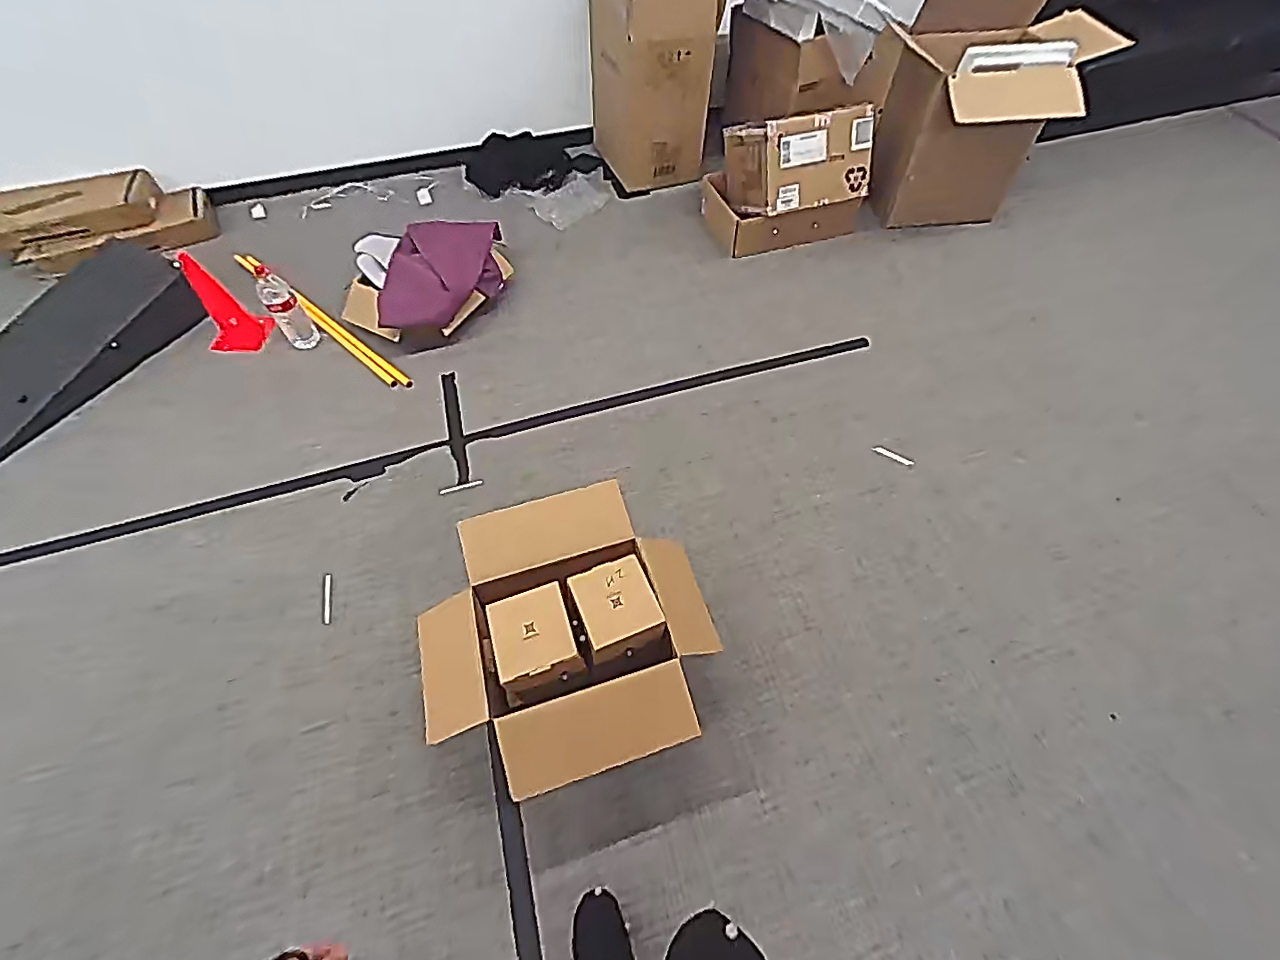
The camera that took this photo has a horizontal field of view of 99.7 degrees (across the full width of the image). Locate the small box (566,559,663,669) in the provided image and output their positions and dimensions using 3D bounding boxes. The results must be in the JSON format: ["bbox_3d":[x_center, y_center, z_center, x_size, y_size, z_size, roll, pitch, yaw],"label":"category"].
[{"bbox_3d":[-0.059,0.313,1.234,0.168,0.176,0.179,-18,58,-16],"label":"small box"}]
